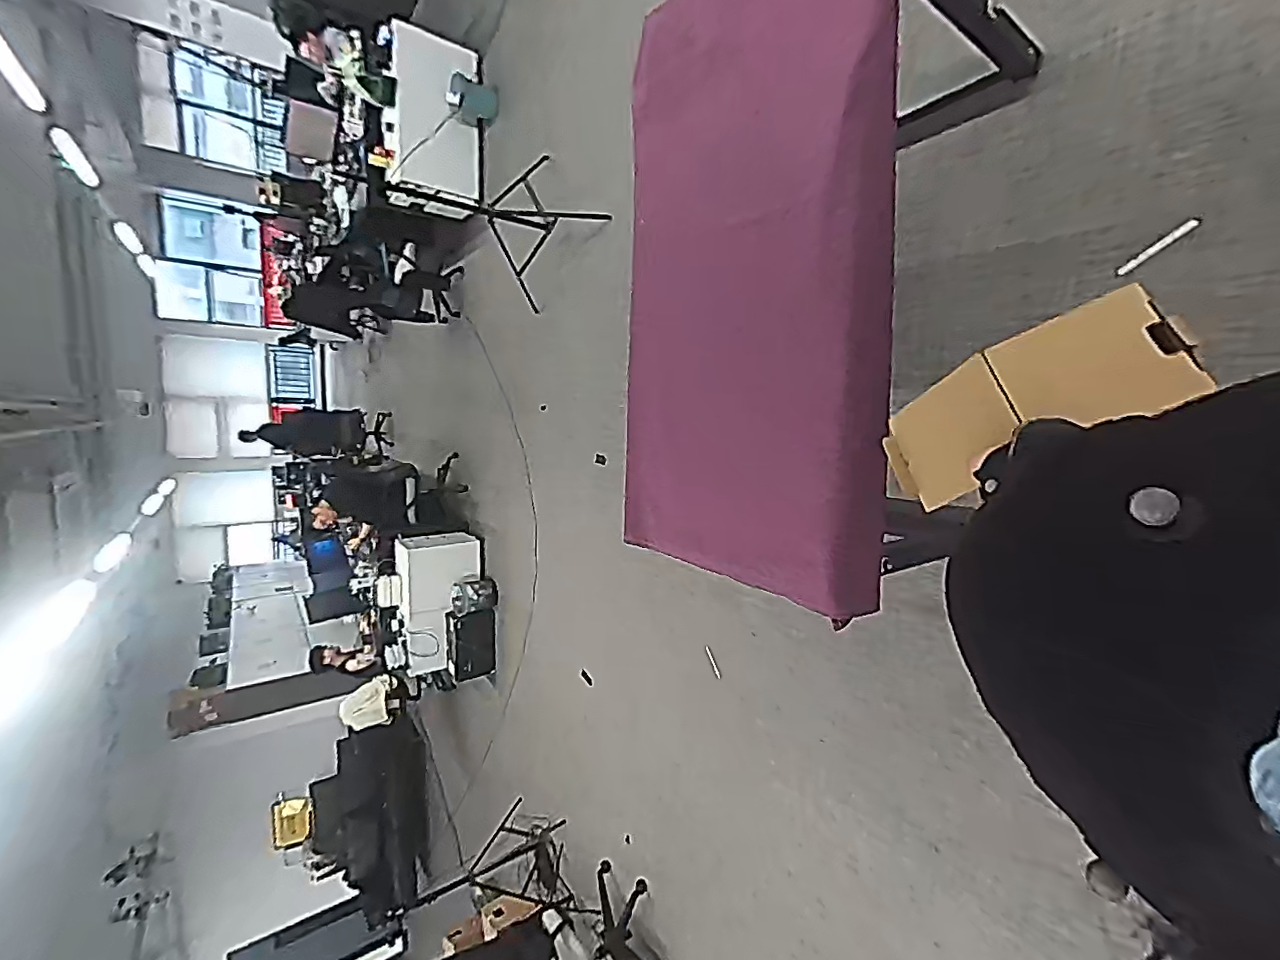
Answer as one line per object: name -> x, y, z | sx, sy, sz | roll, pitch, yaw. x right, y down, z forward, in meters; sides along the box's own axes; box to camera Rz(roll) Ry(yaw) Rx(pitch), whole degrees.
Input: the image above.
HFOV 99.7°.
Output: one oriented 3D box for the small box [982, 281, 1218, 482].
small box -> 0.586, -0.113, 0.710 | 0.179, 0.176, 0.168 | -25, 62, 29
